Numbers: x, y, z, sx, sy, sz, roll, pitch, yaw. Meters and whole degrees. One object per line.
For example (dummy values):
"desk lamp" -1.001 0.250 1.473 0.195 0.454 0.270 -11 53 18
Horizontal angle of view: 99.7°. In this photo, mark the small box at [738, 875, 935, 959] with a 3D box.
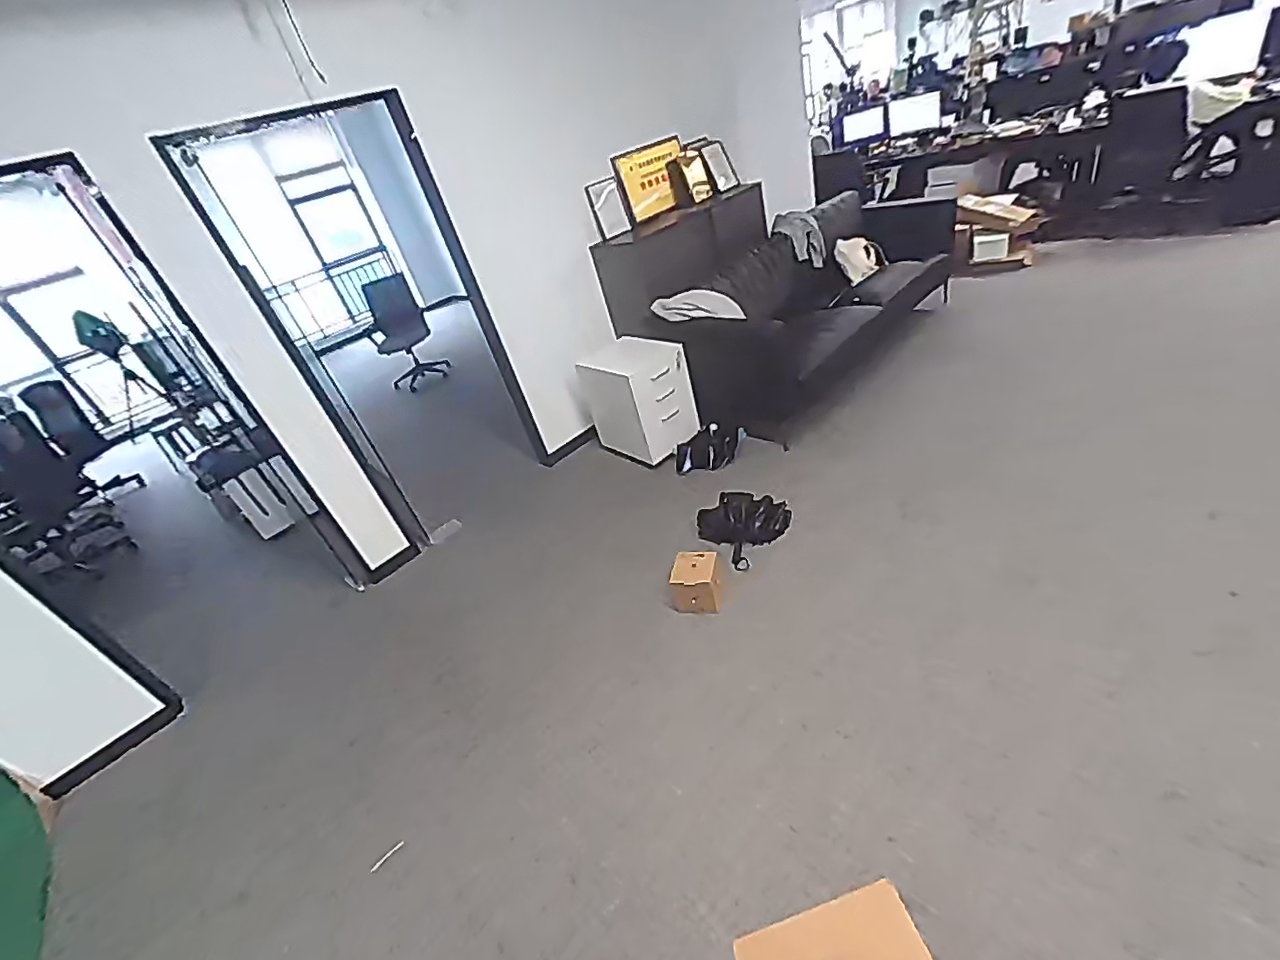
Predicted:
"small box" 0.215 0.516 0.500 0.168 0.176 0.179 -25 35 1
